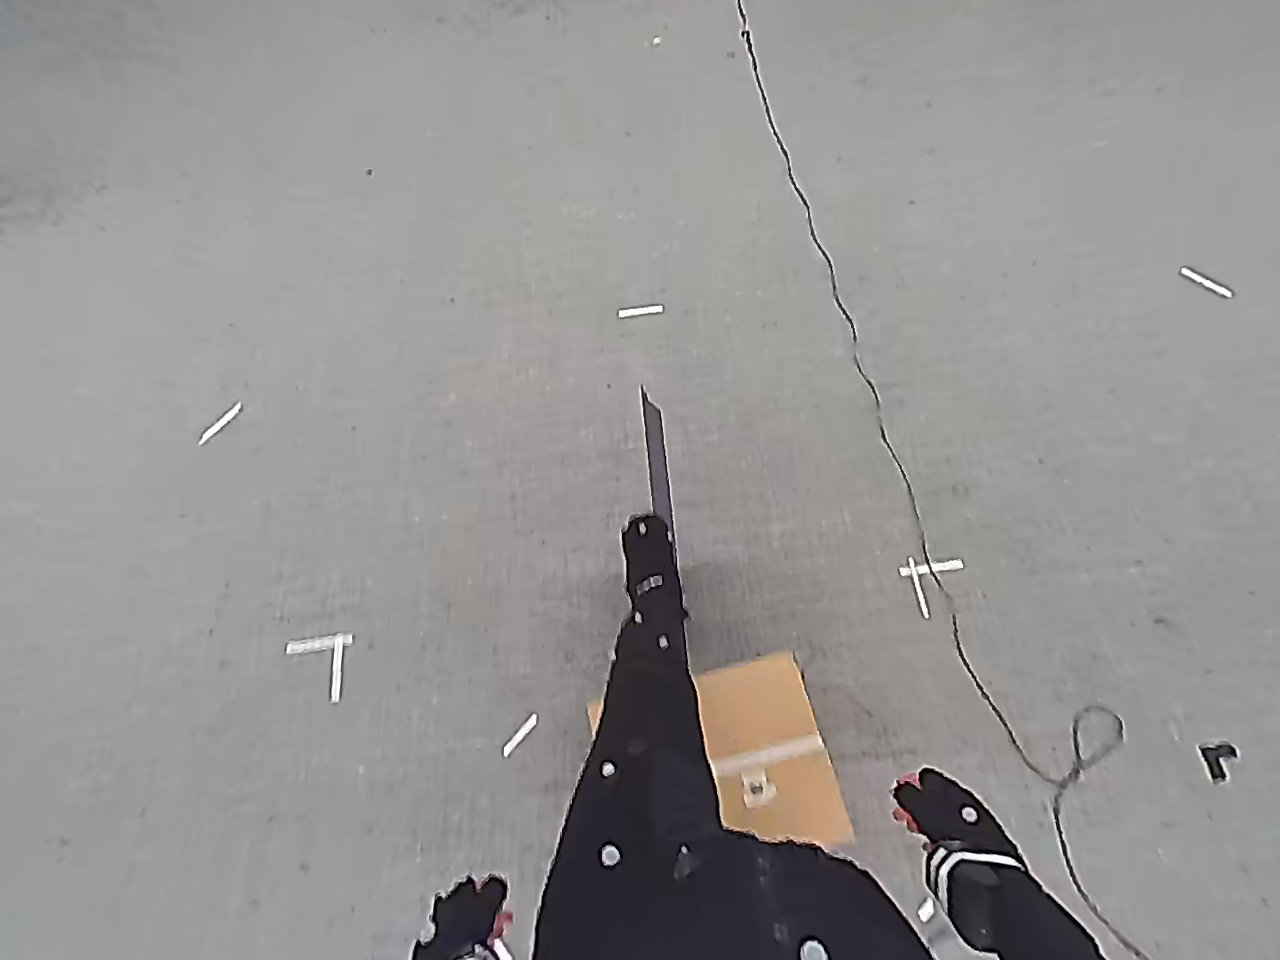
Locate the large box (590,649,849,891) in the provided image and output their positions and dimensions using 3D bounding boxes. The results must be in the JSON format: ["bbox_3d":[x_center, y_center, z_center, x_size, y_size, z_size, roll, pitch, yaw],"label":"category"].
[{"bbox_3d":[0.142,0.563,1.108,0.408,0.320,0.320,-14,69,-1],"label":"large box"}]
